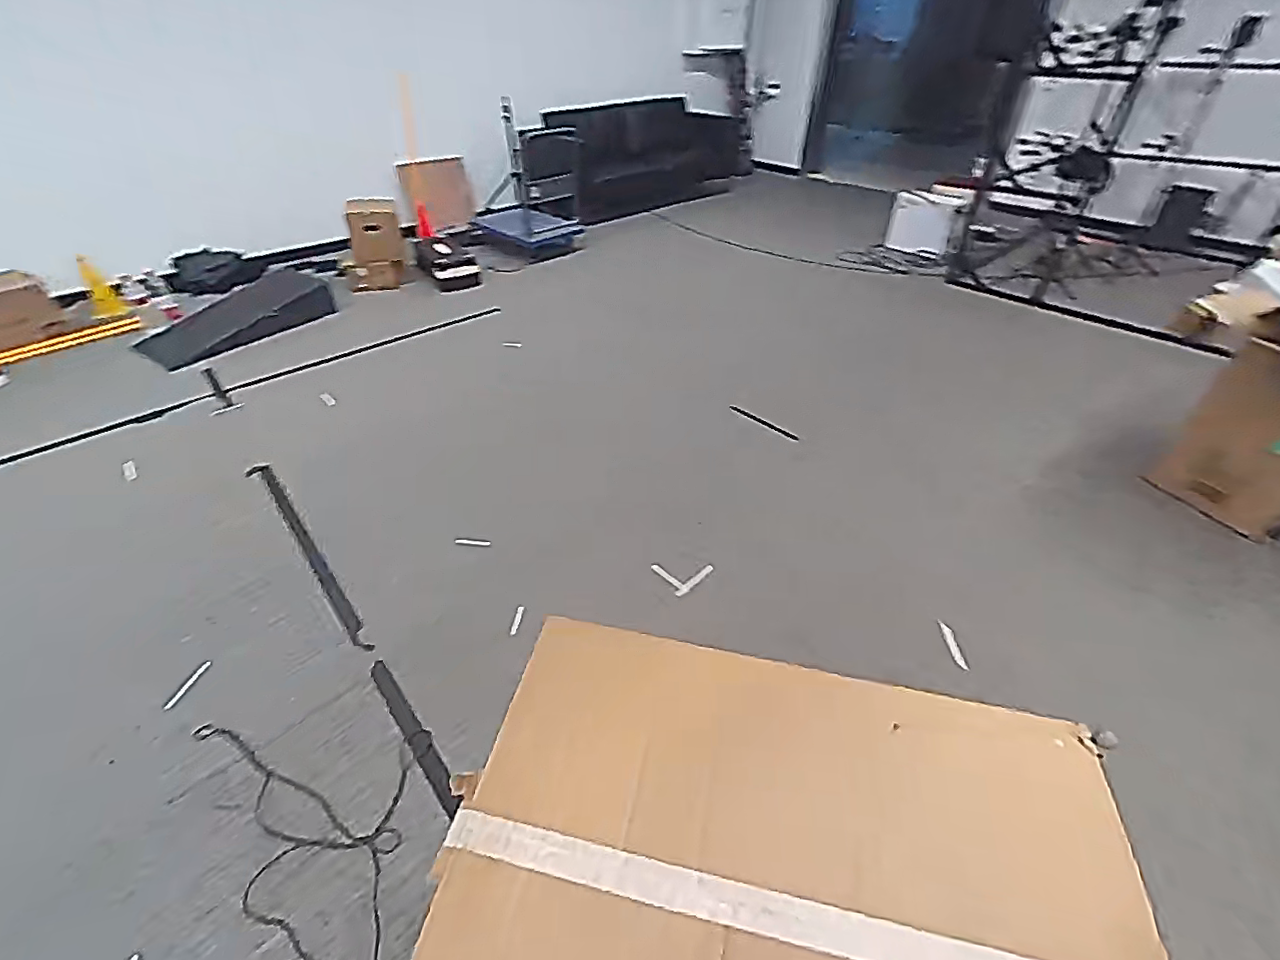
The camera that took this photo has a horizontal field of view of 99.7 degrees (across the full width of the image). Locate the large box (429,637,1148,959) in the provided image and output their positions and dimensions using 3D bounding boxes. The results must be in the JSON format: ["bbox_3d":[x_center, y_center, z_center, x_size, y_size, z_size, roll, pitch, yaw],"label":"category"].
[{"bbox_3d":[0.083,0.365,0.419,0.408,0.320,0.320,9,46,8],"label":"large box"}]
